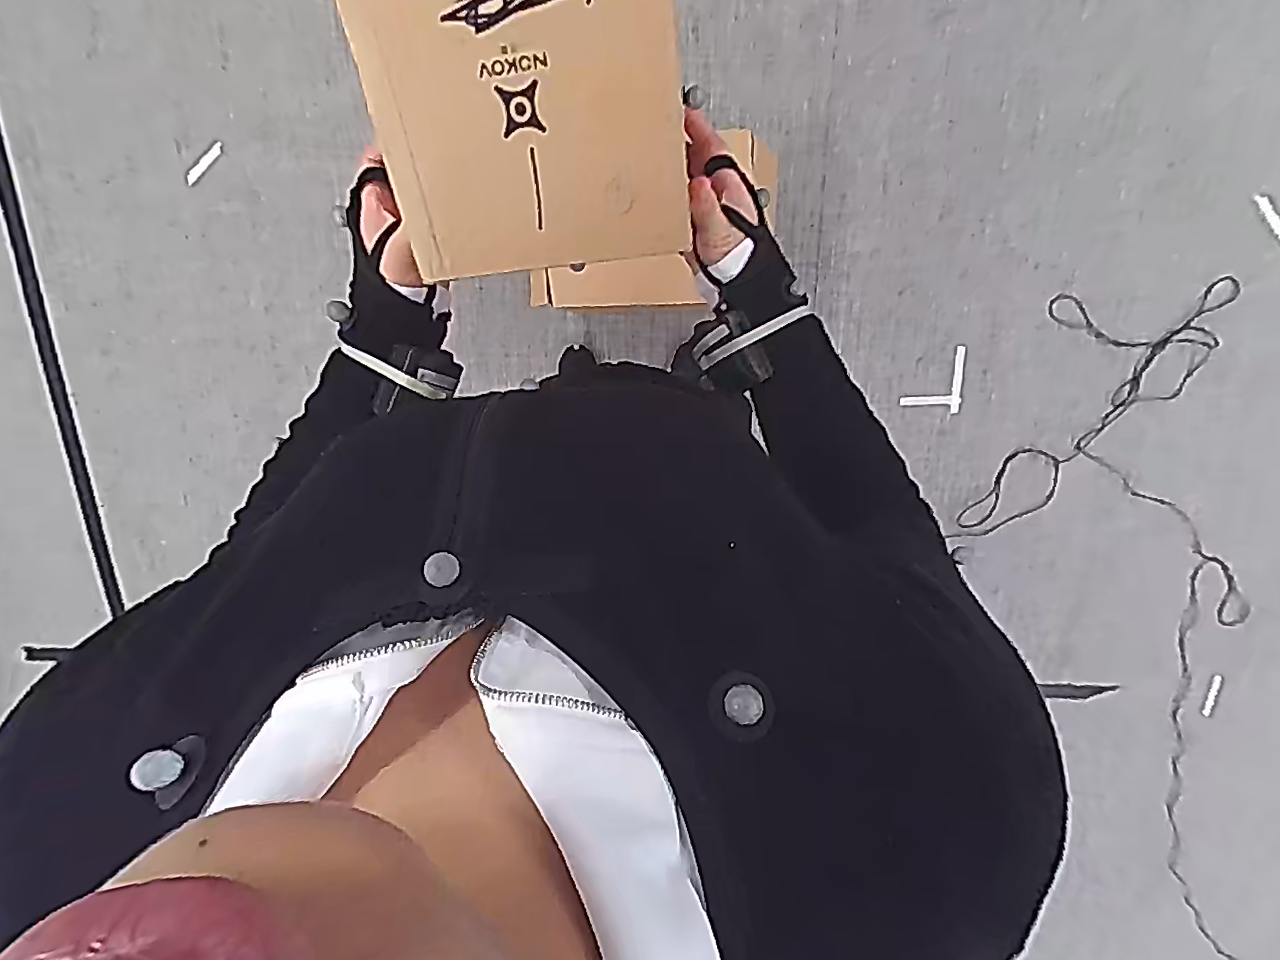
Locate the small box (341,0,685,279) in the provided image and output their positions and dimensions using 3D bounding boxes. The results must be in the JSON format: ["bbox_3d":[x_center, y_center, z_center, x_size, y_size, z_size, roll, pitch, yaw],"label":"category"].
[{"bbox_3d":[-0.060,-0.242,0.353,0.168,0.176,0.179,-4,119,6],"label":"small box"}]
